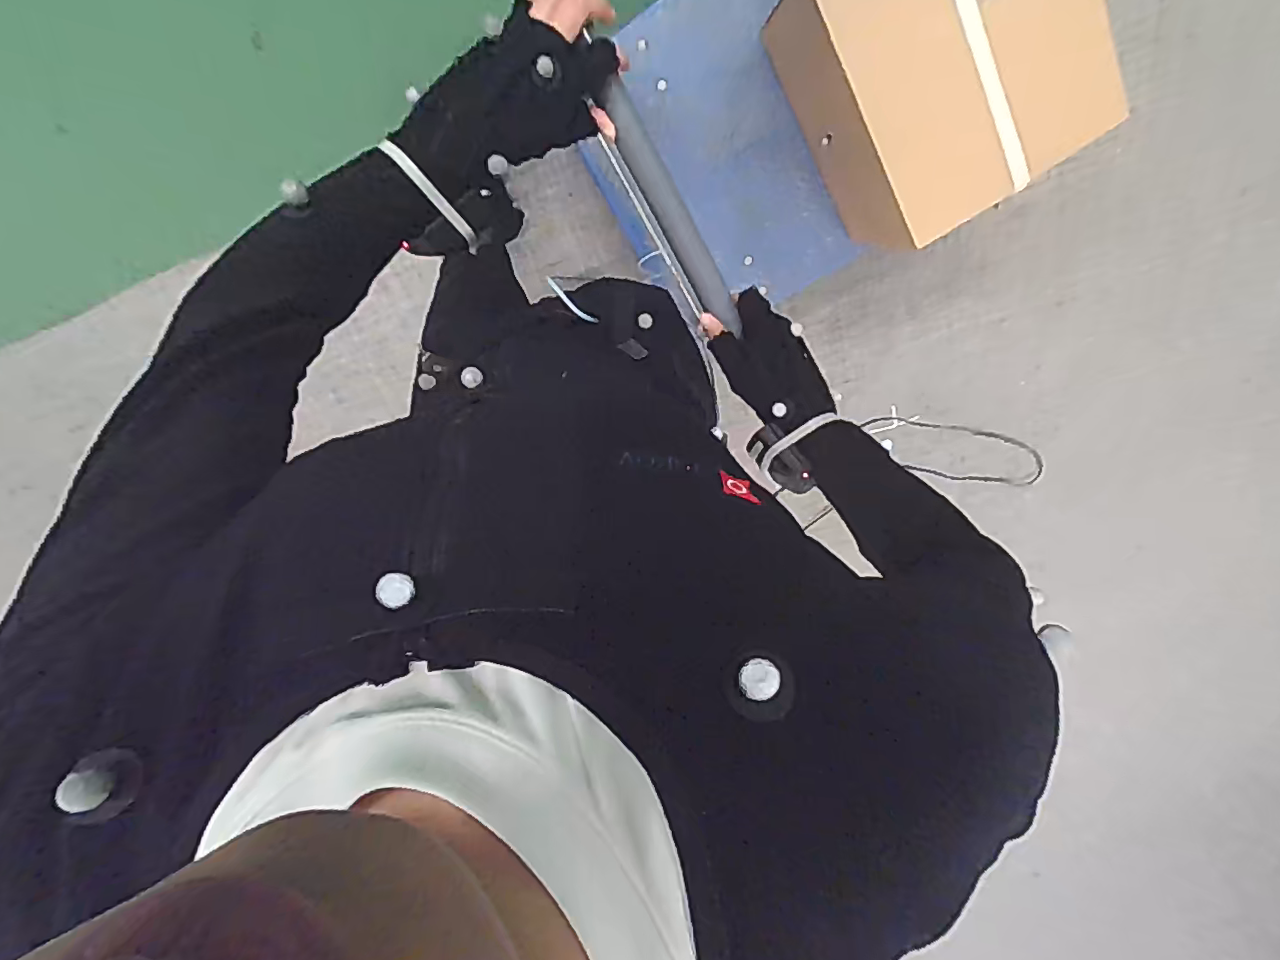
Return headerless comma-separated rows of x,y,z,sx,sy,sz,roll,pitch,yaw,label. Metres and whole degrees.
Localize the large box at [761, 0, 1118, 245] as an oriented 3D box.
0.439,-0.648,0.858,0.320,0.320,0.408,-30,112,15,large box
